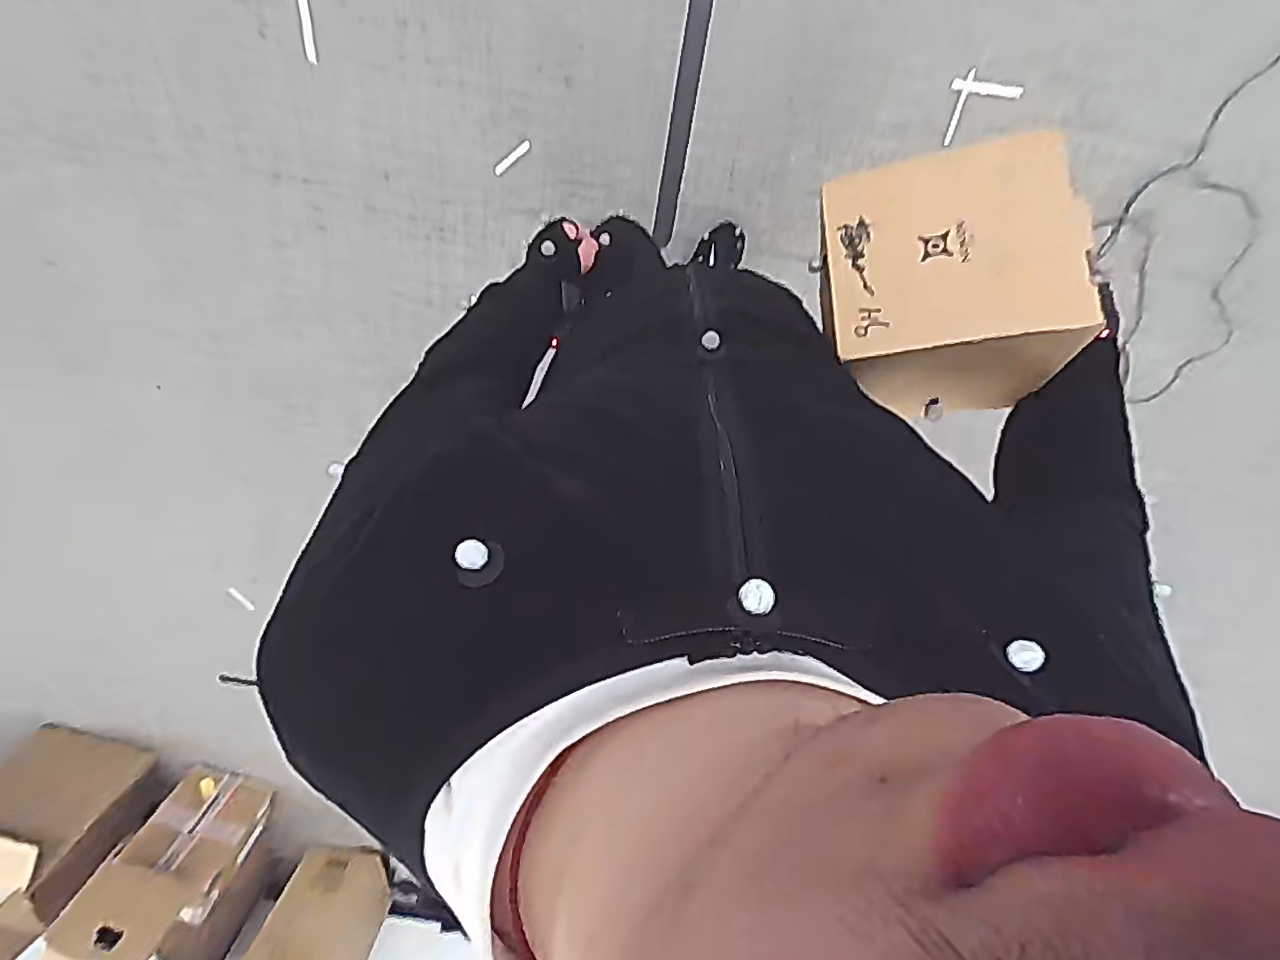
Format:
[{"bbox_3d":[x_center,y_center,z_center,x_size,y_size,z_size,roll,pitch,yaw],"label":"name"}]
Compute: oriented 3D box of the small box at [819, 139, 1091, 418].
[{"bbox_3d":[0.266,-0.166,0.504,0.179,0.176,0.168,-4,76,17],"label":"small box"}]
